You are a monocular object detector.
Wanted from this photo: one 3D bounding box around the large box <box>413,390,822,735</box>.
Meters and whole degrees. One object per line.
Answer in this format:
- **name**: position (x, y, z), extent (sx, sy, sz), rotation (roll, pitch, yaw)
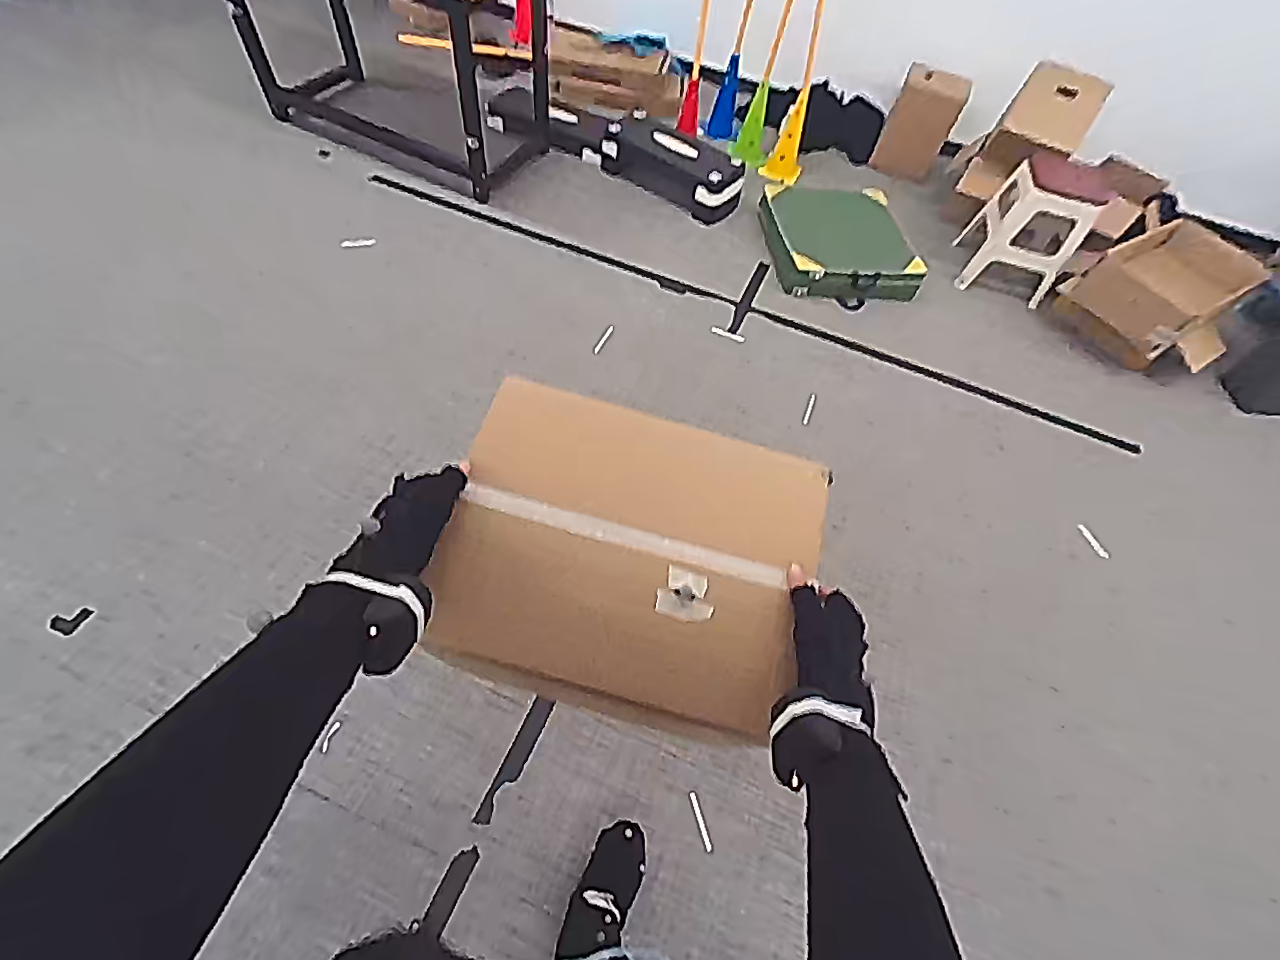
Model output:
- **large box**: position (-0.021, 0.133, 0.732), extent (0.408, 0.320, 0.320), rotation (16, 65, 0)
